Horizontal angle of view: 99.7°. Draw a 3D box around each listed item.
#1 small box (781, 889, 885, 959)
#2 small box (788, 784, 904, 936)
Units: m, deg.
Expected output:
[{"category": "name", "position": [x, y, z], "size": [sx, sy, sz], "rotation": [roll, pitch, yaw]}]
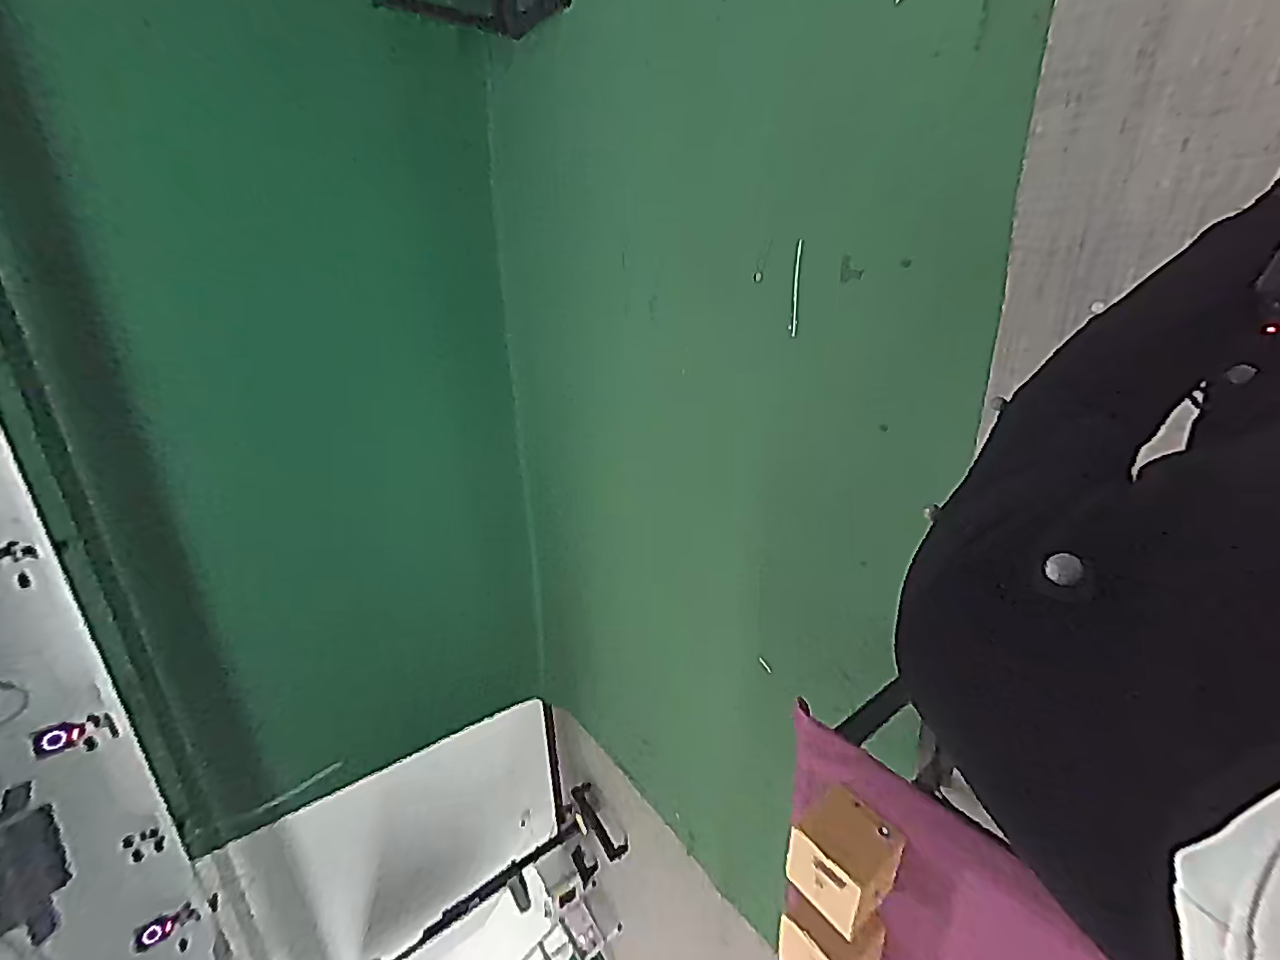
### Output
[{"category": "small box", "position": [0.457, 1.086, 1.280], "size": [0.168, 0.176, 0.179], "rotation": [22, 120, 48]}, {"category": "small box", "position": [0.448, 0.813, 1.178], "size": [0.168, 0.176, 0.179], "rotation": [26, 126, 46]}]
